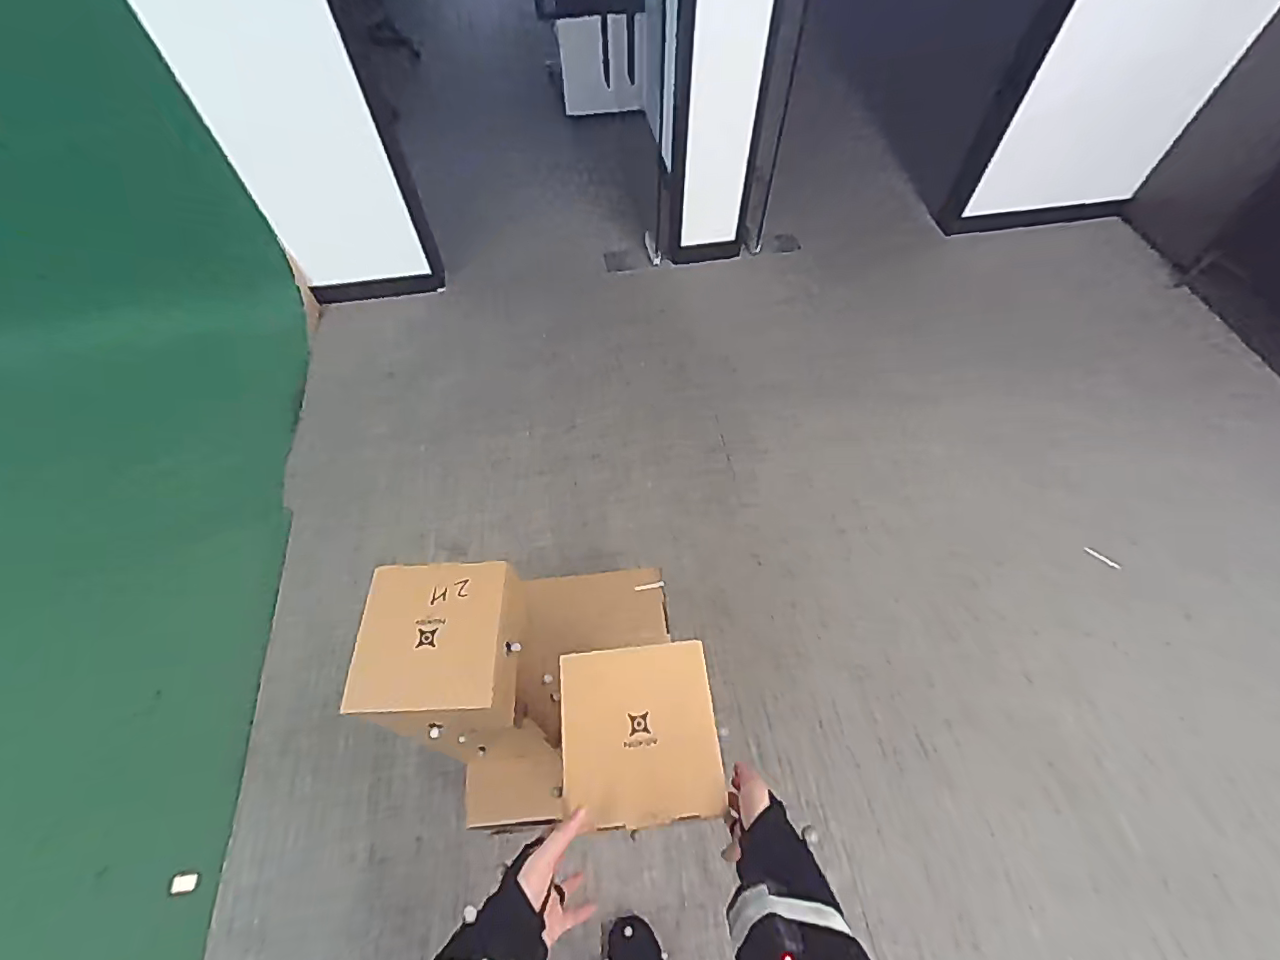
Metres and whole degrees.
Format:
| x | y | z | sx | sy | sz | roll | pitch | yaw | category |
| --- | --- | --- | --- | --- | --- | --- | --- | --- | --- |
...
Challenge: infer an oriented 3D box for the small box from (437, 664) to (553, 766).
| x | y | z | sx | sy | sz | roll | pitch | yaw | category |
| --- | --- | --- | --- | --- | --- | --- | --- | --- | --- |
| -0.251 | 0.398 | 0.971 | 0.168 | 0.176 | 0.179 | -6 | 56 | -3 | small box |

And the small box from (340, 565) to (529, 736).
| x | y | z | sx | sy | sz | roll | pitch | yaw | category |
| --- | --- | --- | --- | --- | --- | --- | --- | --- | --- |
| -0.242 | 0.224 | 0.690 | 0.168 | 0.176 | 0.179 | -1 | 56 | -1 | small box |

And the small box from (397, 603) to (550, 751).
| x | y | z | sx | sy | sz | roll | pitch | yaw | category |
| --- | --- | --- | --- | --- | --- | --- | --- | --- | --- |
| -0.243 | 0.307 | 0.830 | 0.179 | 0.176 | 0.168 | -8 | 57 | -2 | small box |

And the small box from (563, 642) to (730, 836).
| x | y | z | sx | sy | sz | roll | pitch | yaw | category |
| --- | --- | --- | --- | --- | --- | --- | --- | --- | --- |
| -0.002 | 0.308 | 0.638 | 0.168 | 0.176 | 0.179 | -5 | 58 | -5 | small box |
